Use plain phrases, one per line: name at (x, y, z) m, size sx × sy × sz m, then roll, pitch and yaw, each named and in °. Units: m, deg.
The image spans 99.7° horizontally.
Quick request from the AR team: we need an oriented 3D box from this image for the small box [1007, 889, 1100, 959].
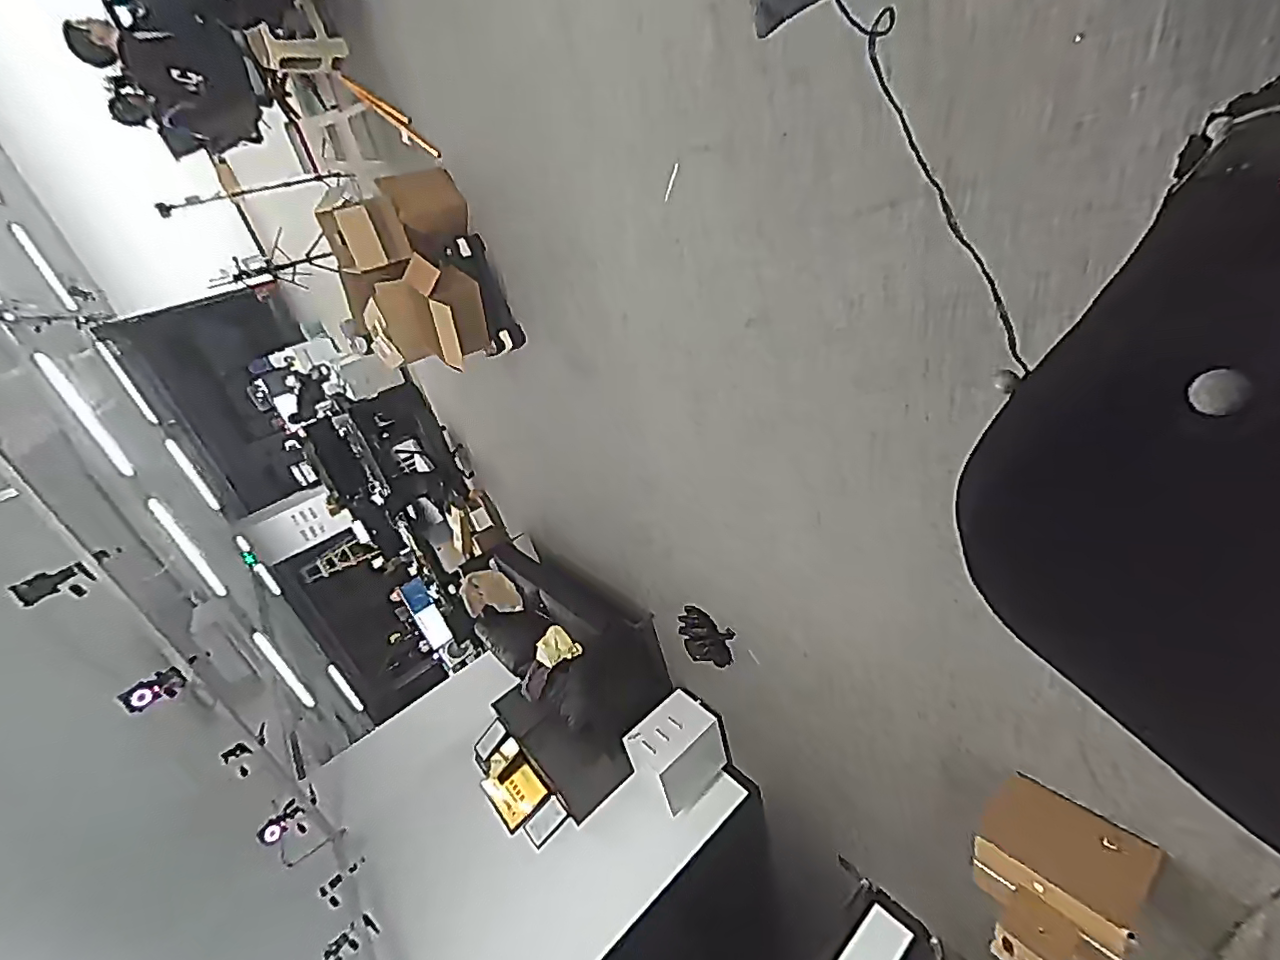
small box at (1.279, 1.422, 1.675) m, size 0.179 × 0.176 × 0.168 m, roll 20°, pitch 129°, yaw 51°
